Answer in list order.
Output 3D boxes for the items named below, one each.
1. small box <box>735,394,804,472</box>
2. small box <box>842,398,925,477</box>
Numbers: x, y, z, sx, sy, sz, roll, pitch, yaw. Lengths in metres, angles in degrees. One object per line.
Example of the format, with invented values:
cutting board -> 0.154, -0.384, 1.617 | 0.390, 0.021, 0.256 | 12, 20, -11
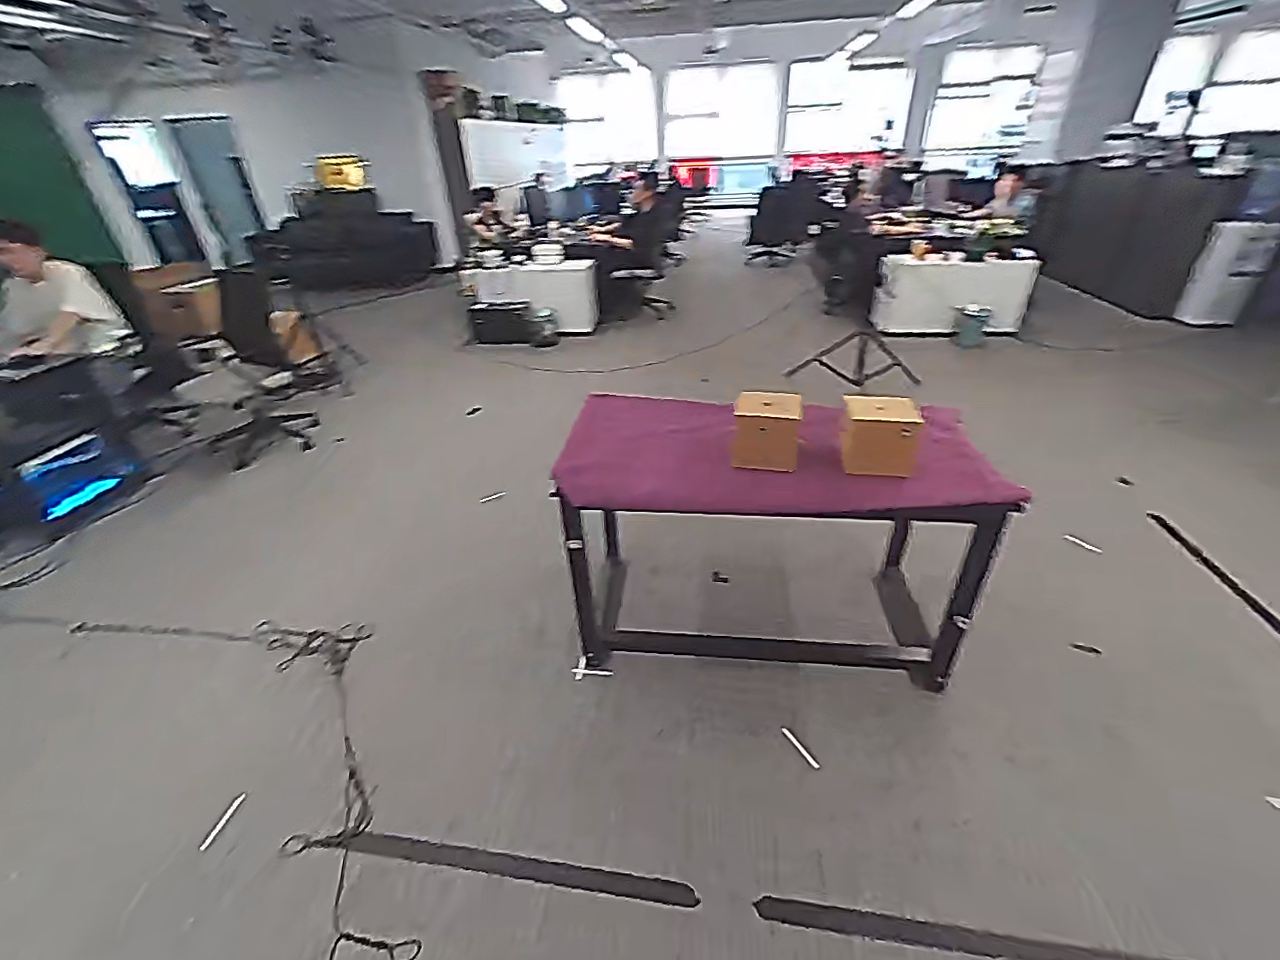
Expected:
small box -> 0.372, -0.137, 1.558 | 0.179, 0.176, 0.168 | 6, 33, 14
small box -> 0.667, -0.119, 1.506 | 0.179, 0.176, 0.168 | 4, 31, 11
